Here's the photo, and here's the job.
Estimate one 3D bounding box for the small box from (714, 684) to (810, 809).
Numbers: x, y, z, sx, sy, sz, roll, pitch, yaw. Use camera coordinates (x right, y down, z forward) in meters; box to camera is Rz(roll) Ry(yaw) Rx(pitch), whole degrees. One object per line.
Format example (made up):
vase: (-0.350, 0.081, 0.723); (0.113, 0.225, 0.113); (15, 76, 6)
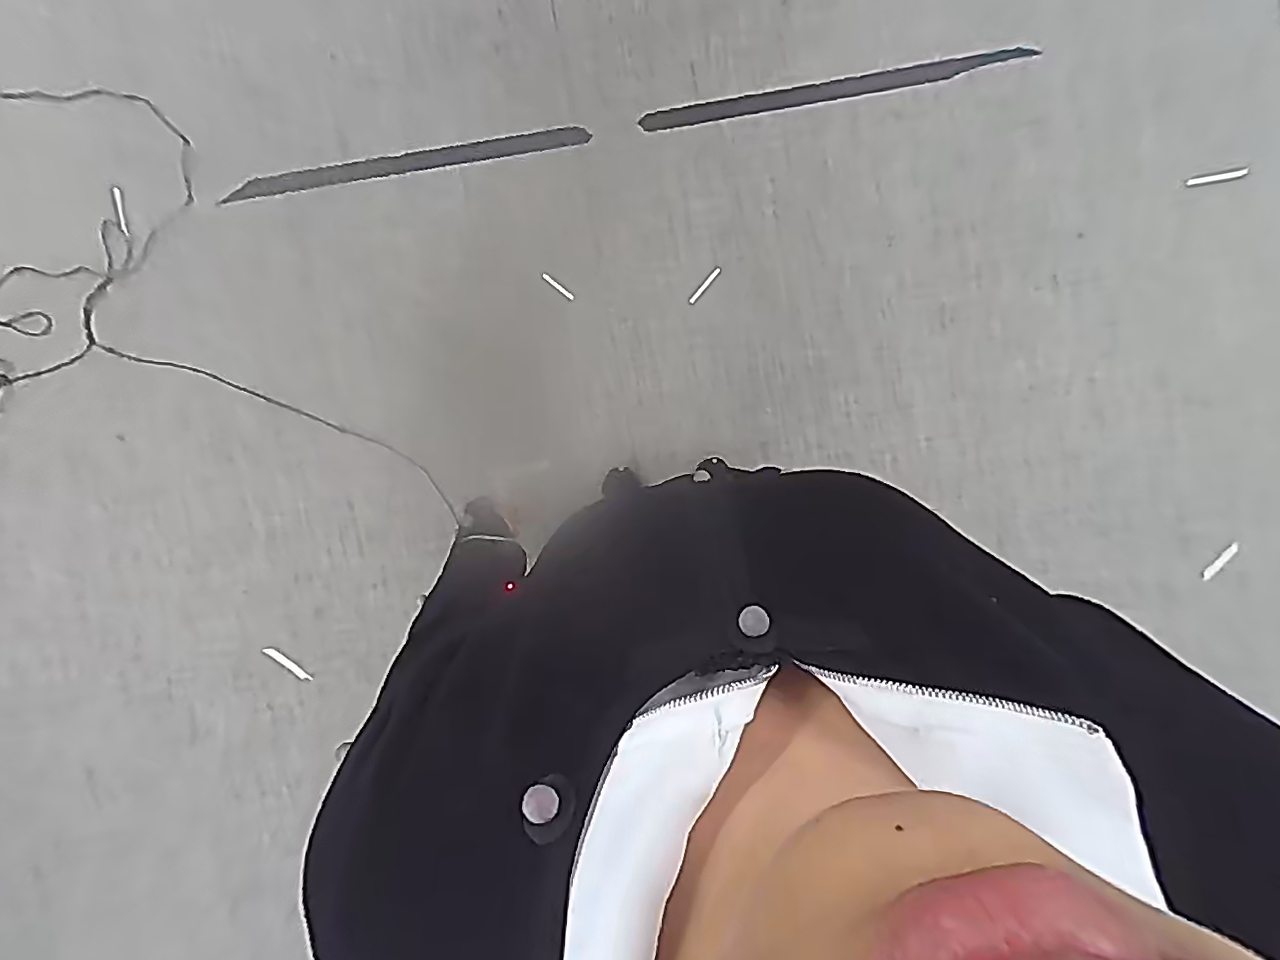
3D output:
small box: (0.259, 0.573, 1.176); (0.168, 0.176, 0.179); (-9, 94, 2)

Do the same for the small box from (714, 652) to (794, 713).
small box: (0.282, 0.551, 1.340); (0.168, 0.176, 0.179); (-11, 93, 3)
